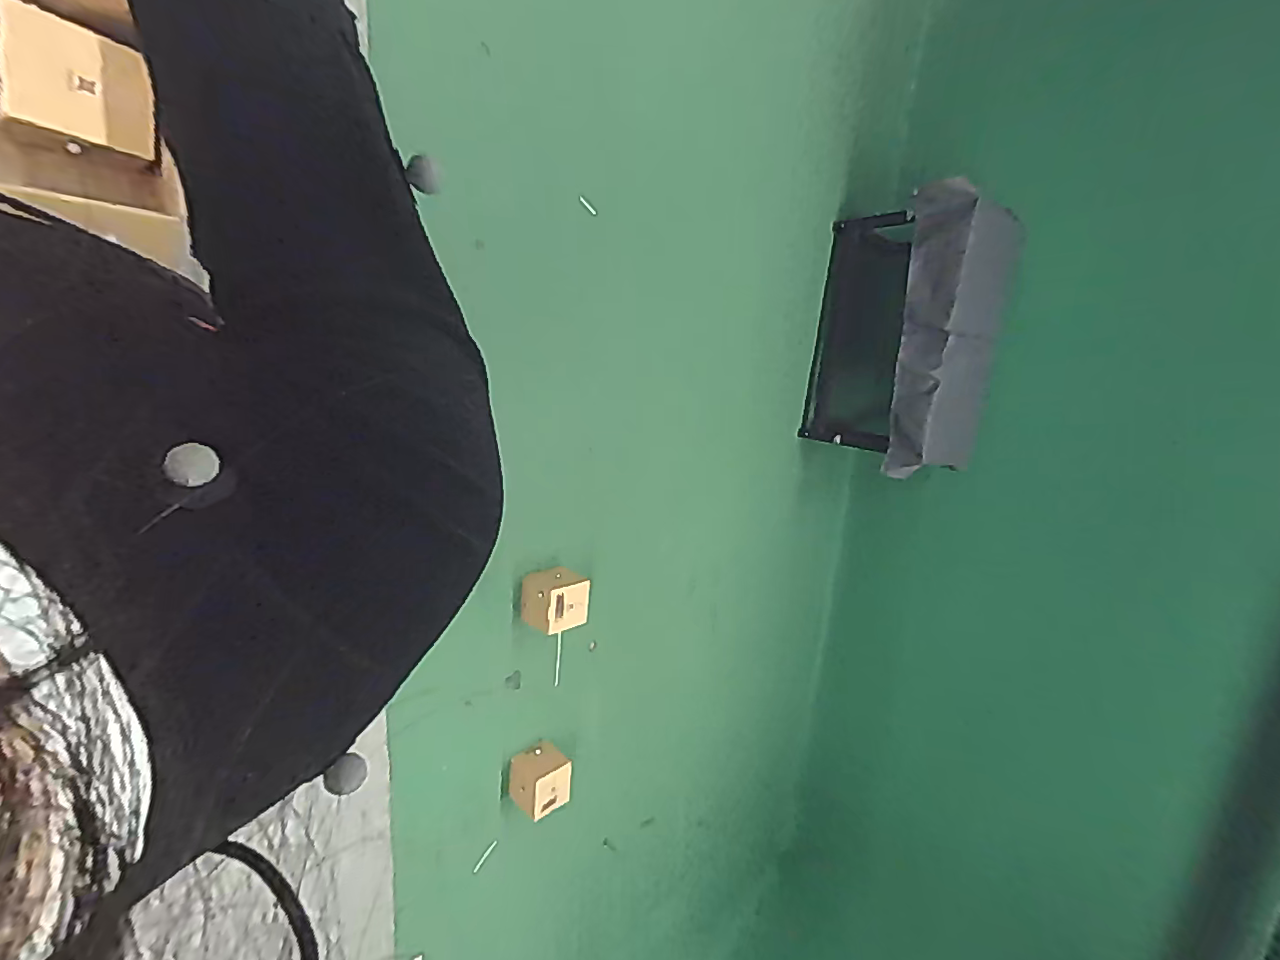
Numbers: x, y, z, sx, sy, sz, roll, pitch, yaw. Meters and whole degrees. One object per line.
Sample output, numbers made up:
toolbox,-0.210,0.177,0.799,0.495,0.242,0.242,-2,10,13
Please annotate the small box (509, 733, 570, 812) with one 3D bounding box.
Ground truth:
small box,-0.392,1.122,2.088,0.168,0.176,0.179,-7,107,-46
